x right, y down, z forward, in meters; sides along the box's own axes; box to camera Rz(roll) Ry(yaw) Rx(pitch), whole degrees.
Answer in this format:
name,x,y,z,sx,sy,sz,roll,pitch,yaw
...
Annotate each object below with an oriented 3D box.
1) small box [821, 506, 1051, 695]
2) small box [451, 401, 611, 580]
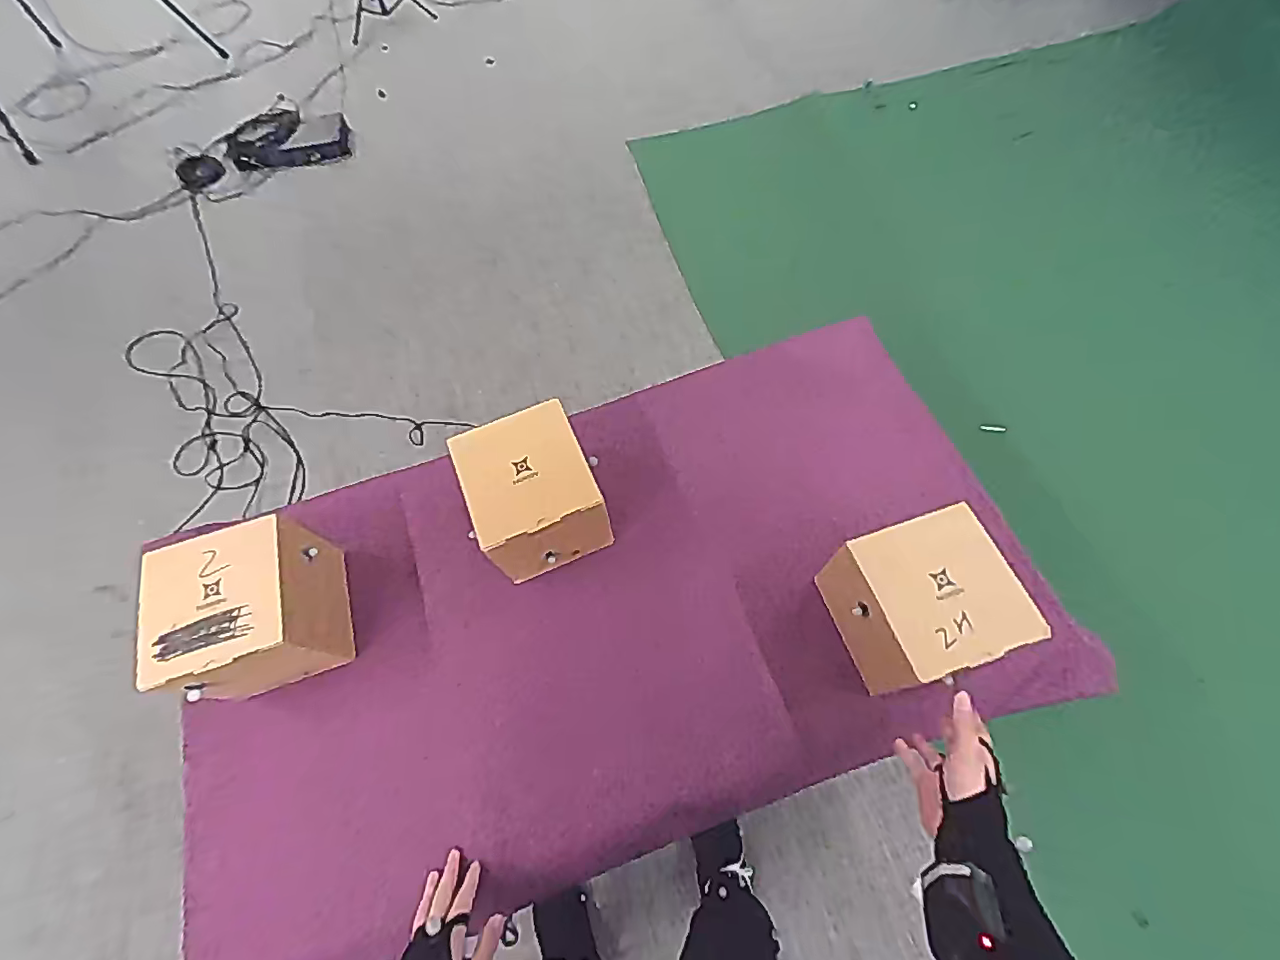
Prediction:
name,x,y,z,sx,sy,sz,roll,pitch,yaw
small box,0.358,0.162,0.699,0.168,0.176,0.179,-18,65,-4
small box,-0.150,0.021,0.785,0.168,0.176,0.179,-22,68,-9
